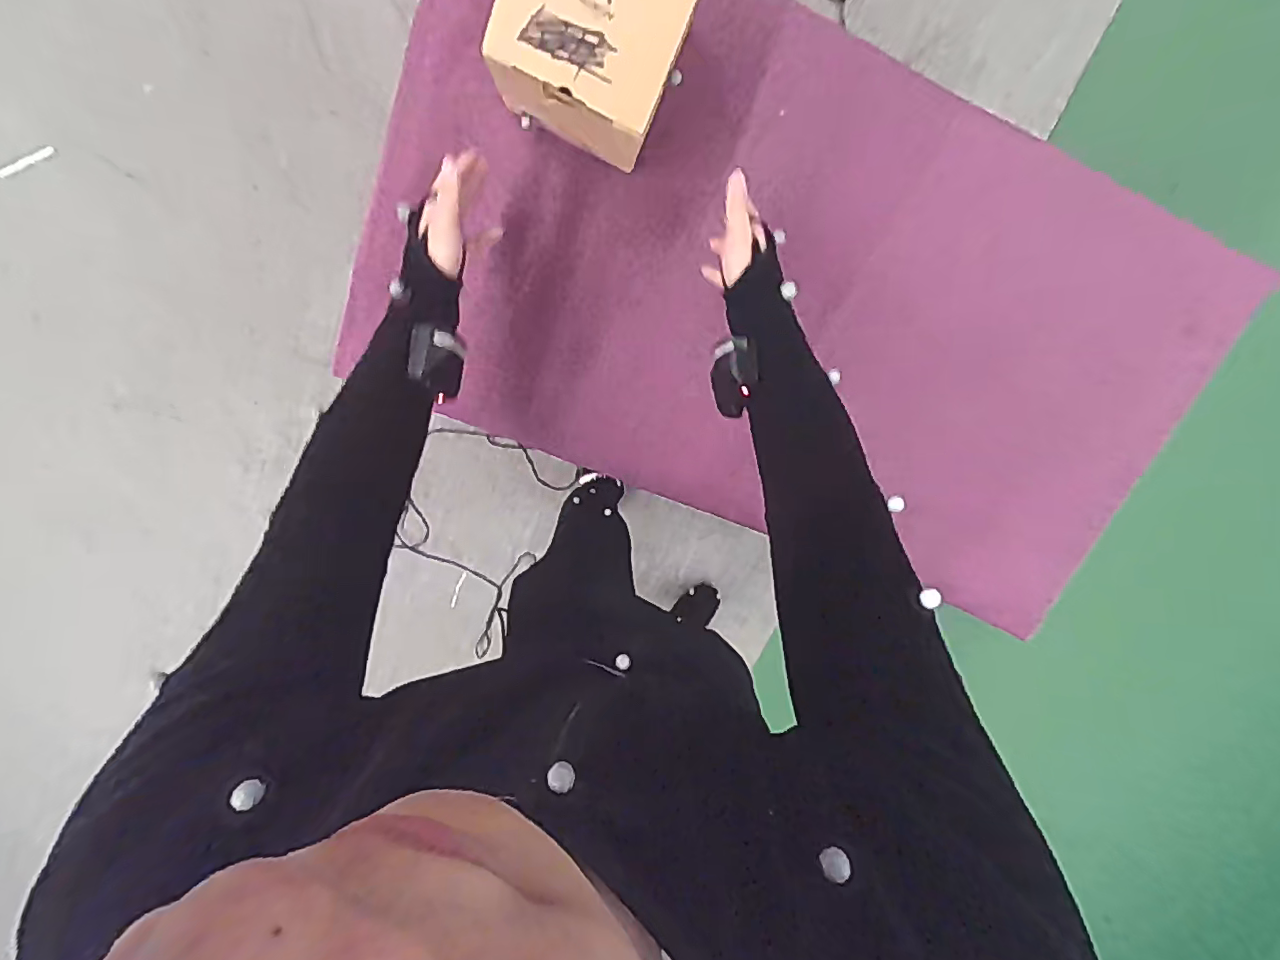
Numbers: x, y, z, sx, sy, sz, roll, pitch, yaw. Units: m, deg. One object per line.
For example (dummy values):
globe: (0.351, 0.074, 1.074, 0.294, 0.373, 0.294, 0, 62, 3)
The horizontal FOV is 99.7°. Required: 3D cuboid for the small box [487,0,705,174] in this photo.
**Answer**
small box: (-0.042, -0.456, 0.570, 0.168, 0.176, 0.179, 21, 106, -14)
